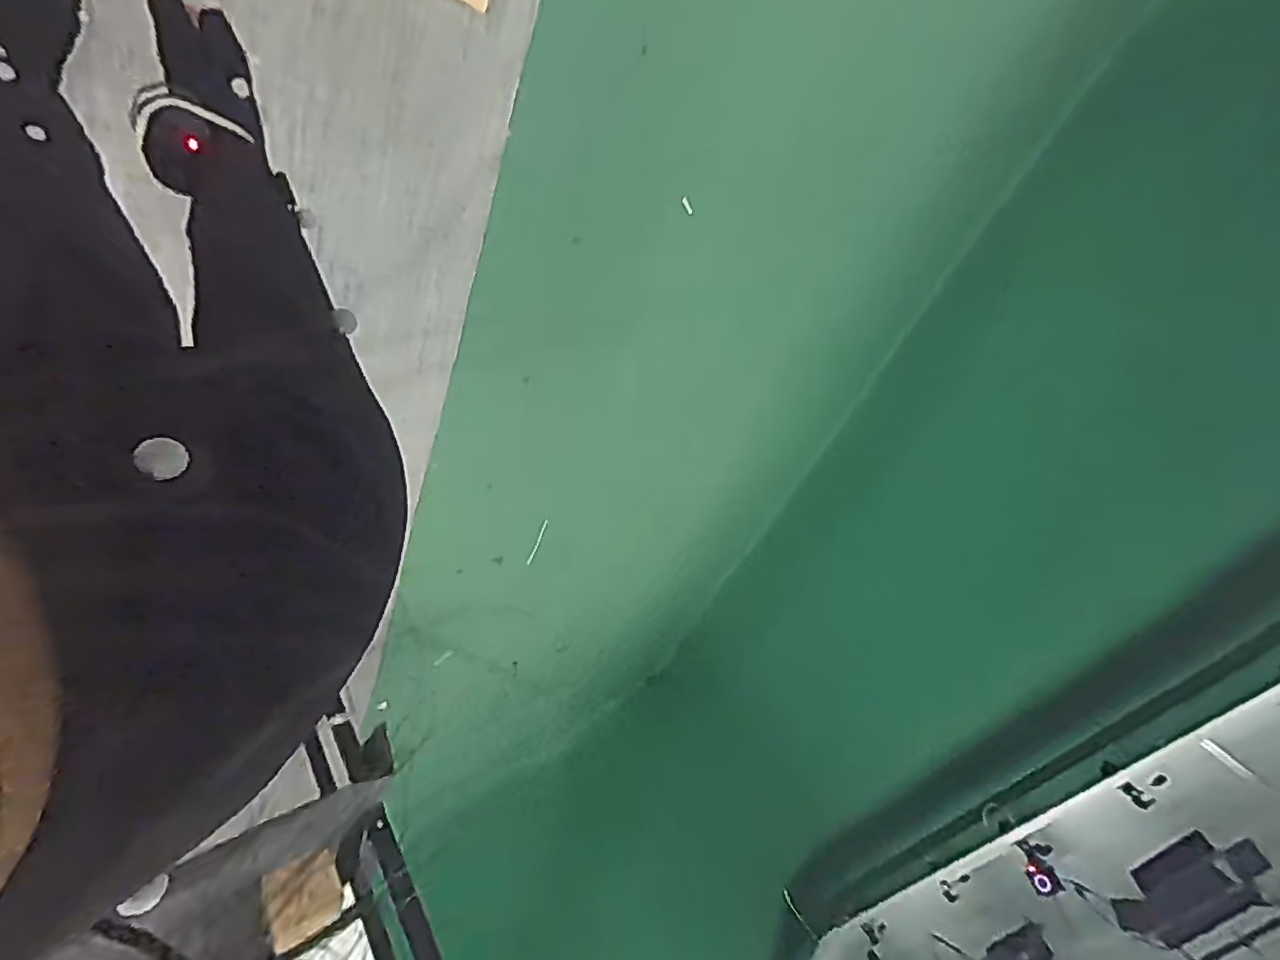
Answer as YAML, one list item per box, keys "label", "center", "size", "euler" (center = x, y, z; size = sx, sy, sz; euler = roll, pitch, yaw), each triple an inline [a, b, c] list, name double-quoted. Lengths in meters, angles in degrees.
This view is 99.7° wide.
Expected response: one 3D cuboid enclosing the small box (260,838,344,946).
- label: "small box"
  center: [-0.981, 1.182, 1.563]
  size: [0.168, 0.176, 0.179]
  euler: [-11, 139, -44]
